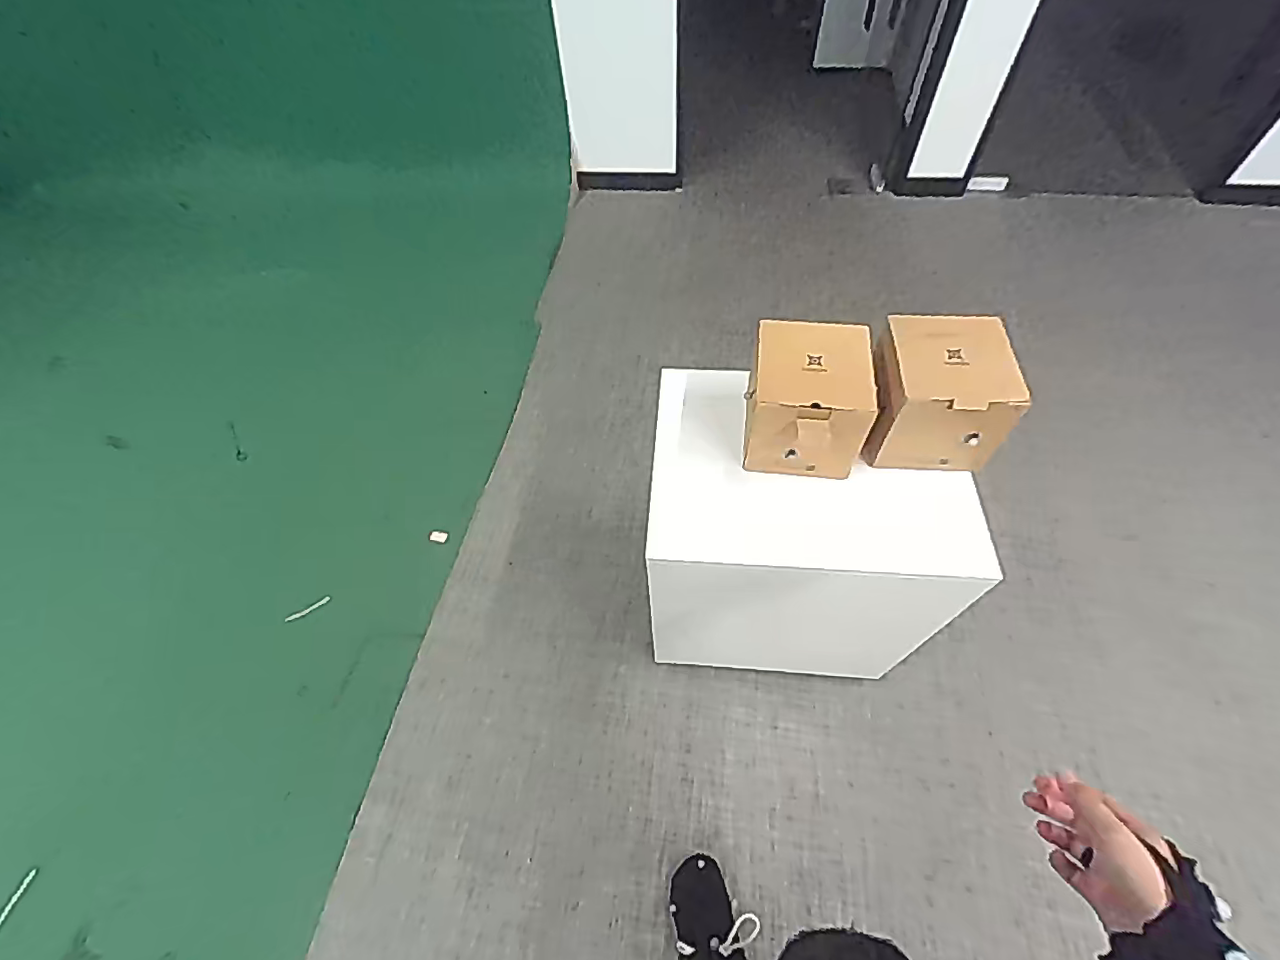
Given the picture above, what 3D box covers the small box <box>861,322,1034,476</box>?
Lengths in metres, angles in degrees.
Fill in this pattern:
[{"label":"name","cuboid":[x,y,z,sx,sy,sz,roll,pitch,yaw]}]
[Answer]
[{"label":"small box","cuboid":[0.458,-0.122,0.840,0.168,0.176,0.179,3,56,5]}]
